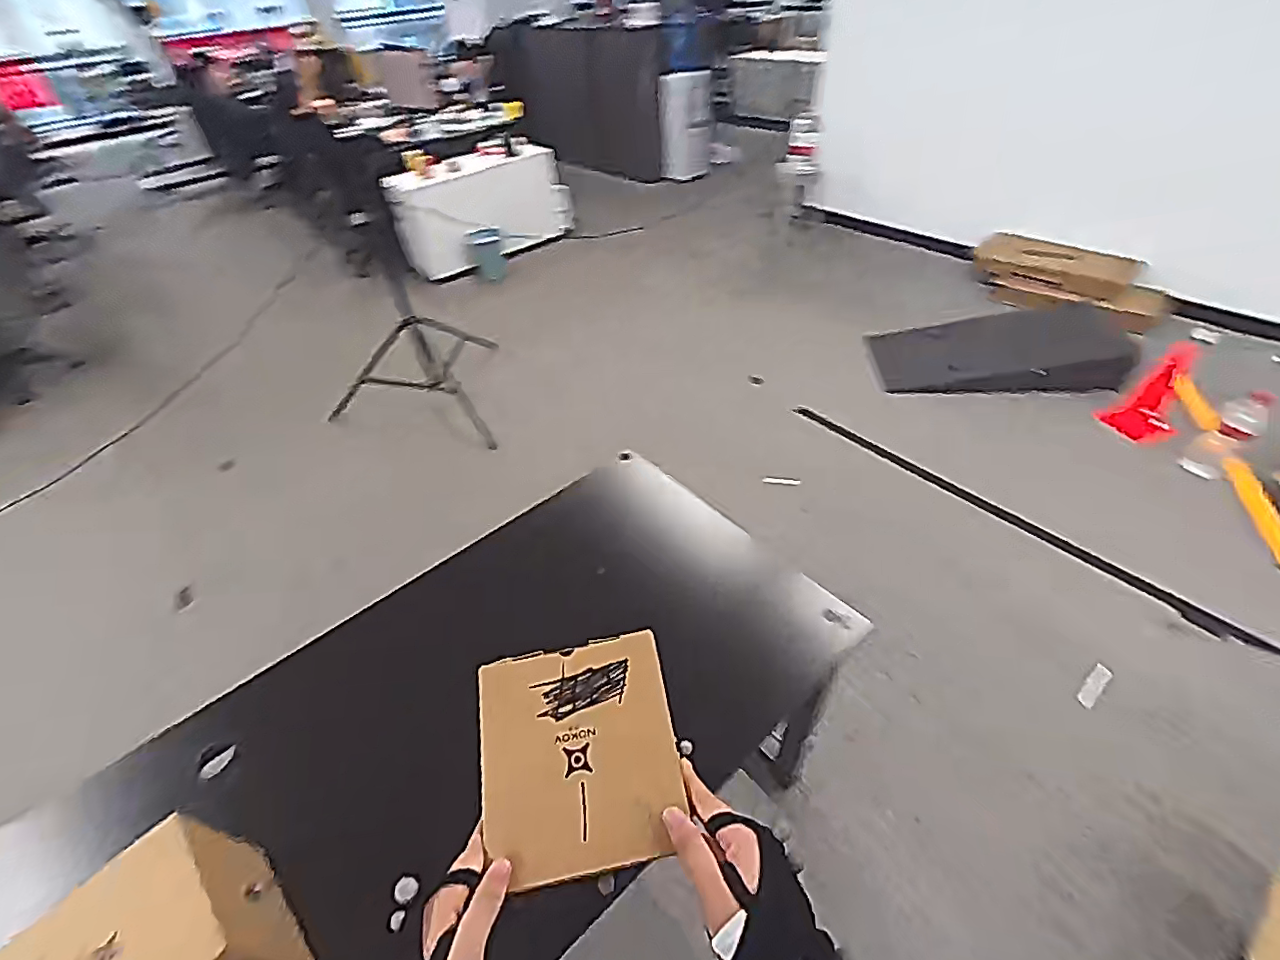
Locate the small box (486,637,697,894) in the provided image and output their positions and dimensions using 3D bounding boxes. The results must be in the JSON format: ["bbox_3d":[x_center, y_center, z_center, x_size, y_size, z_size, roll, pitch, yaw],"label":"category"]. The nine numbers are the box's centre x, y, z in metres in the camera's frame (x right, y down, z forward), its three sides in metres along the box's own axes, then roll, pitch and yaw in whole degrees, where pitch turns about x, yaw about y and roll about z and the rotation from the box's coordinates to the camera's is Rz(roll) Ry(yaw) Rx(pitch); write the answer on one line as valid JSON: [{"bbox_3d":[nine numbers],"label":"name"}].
[{"bbox_3d":[-0.043,0.276,0.525,0.168,0.176,0.179,-11,56,-1],"label":"small box"}]

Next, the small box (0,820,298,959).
[{"bbox_3d":[-0.487,0.500,0.549,0.168,0.176,0.179,29,54,31],"label":"small box"}]
